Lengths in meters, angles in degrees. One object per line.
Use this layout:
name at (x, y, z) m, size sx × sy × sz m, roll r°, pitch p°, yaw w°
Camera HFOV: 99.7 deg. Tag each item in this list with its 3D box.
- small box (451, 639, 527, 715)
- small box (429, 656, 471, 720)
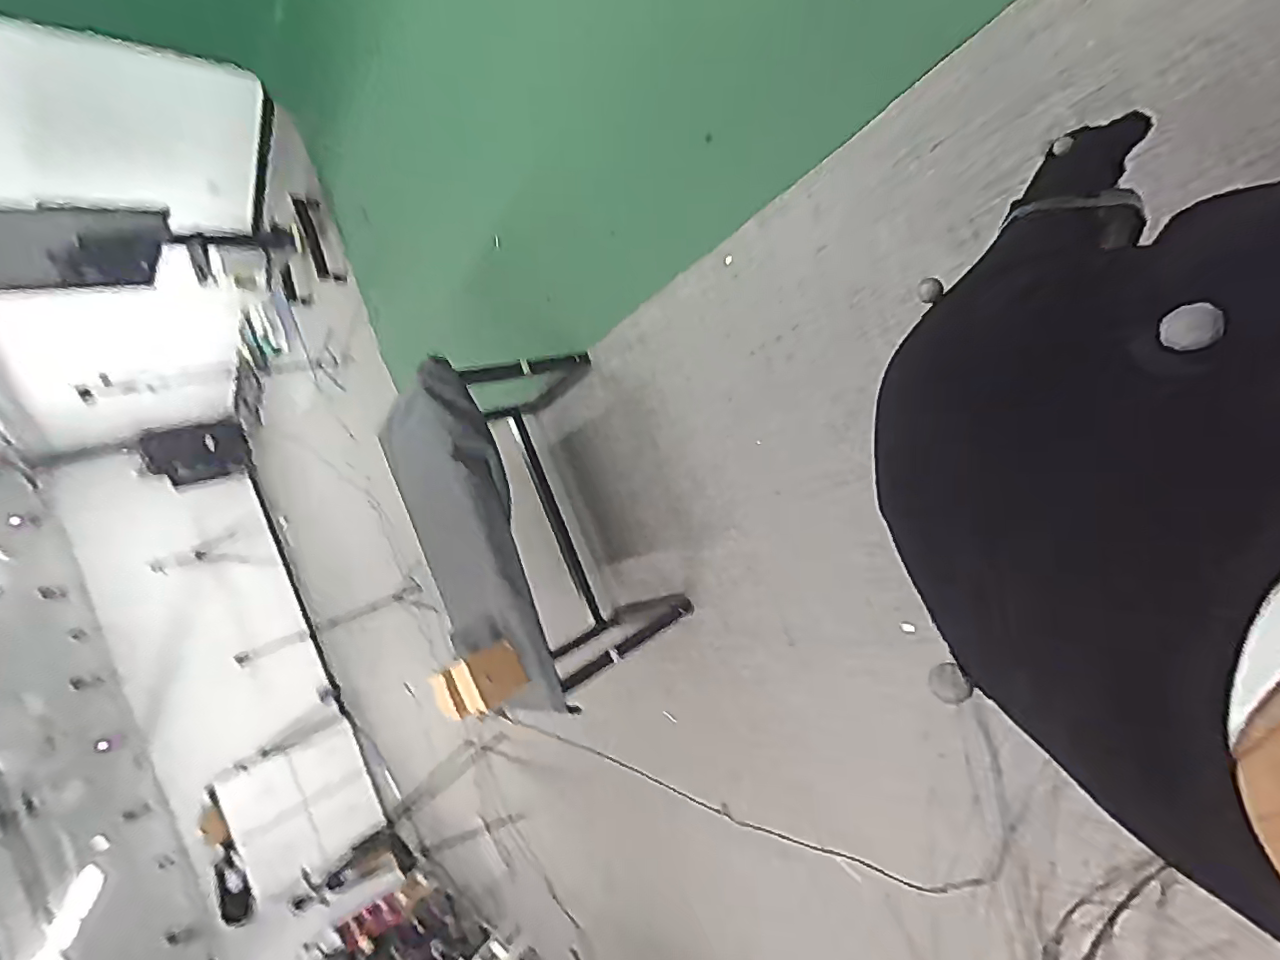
small box at (-0.507, 0.664, 1.824) m, size 0.168 × 0.176 × 0.179 m, roll -39°, pitch 74°, yaw 47°
small box at (-0.660, 0.772, 2.028) m, size 0.168 × 0.176 × 0.179 m, roll -26°, pitch 85°, yaw 48°
